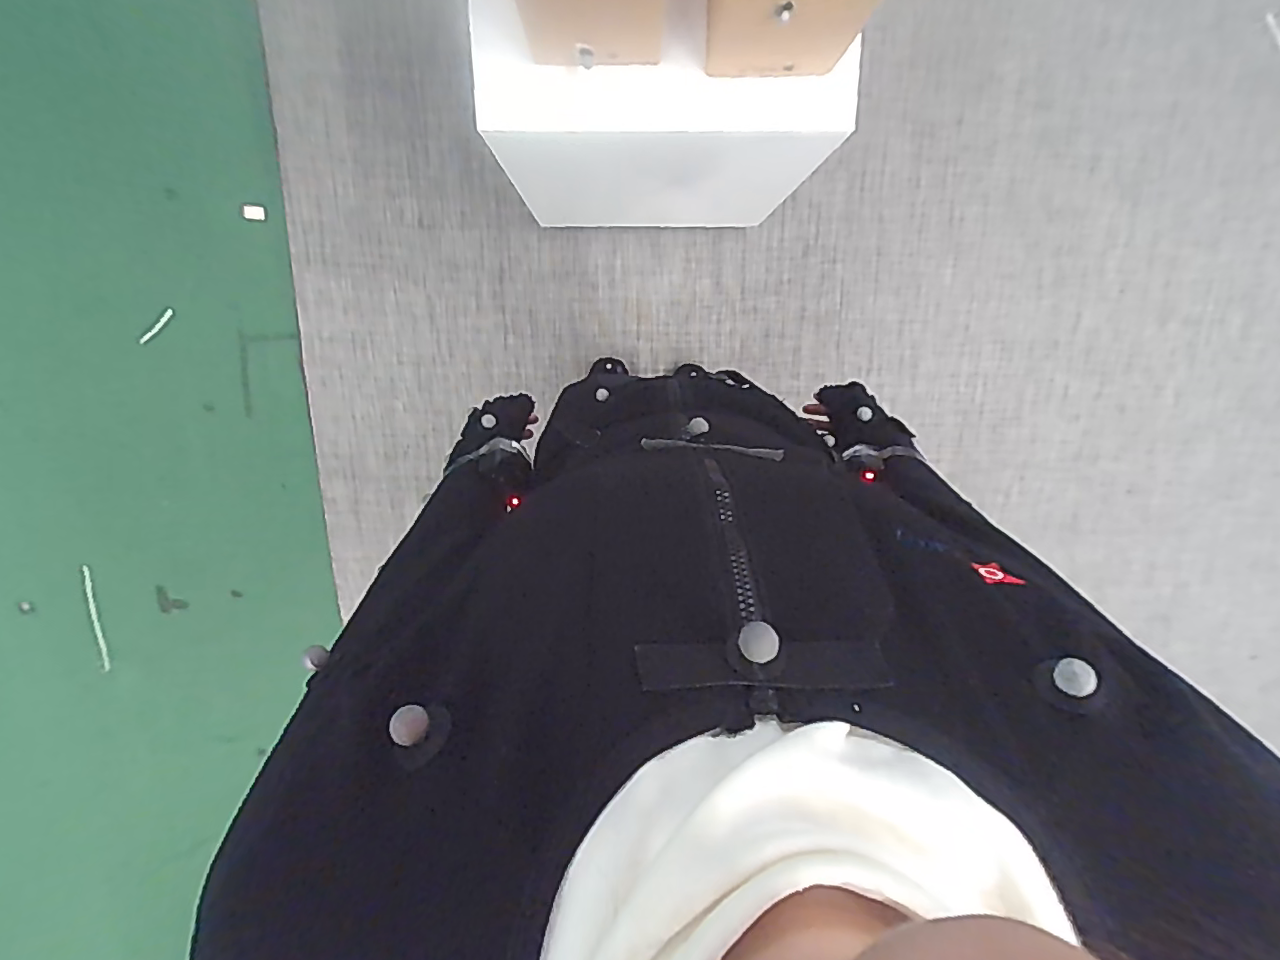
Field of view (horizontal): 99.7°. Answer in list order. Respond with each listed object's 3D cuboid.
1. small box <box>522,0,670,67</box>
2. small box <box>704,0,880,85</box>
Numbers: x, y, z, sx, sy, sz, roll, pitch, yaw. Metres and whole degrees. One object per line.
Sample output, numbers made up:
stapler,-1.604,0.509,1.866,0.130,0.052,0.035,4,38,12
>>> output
small box,-0.053,-0.602,0.601,0.168,0.176,0.179,-3,103,0
small box,0.167,-0.596,0.620,0.168,0.176,0.179,-1,101,-1
